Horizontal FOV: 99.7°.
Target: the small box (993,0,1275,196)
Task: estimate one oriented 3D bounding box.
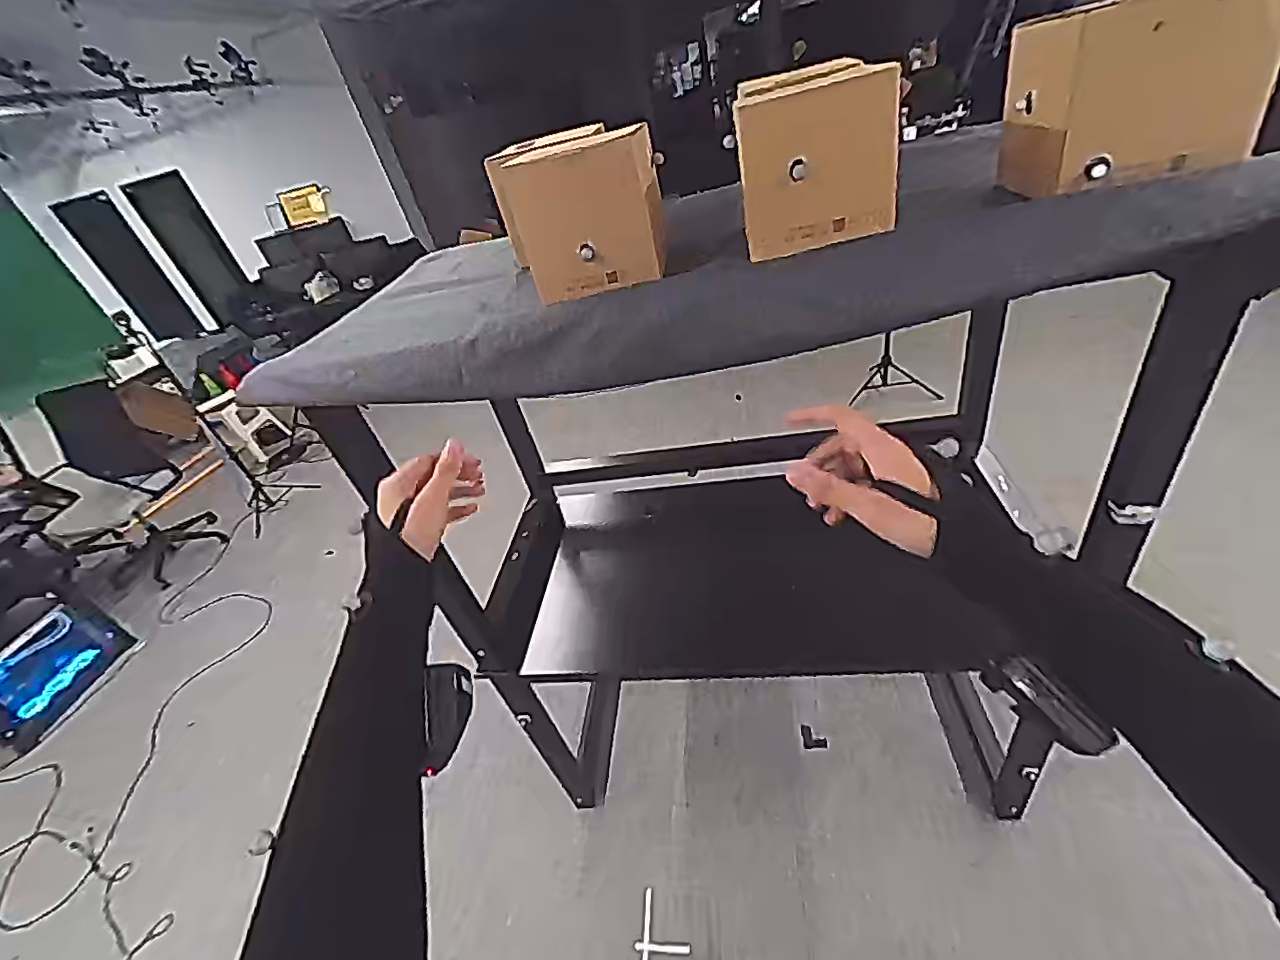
[{"bbox_3d":[0.507,-0.418,0.580,0.168,0.176,0.179,-5,33,15],"label":"small box"}]

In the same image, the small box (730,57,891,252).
[{"bbox_3d":[0.205,-0.396,0.672,0.168,0.176,0.179,-7,34,13],"label":"small box"}]

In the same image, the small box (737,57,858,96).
[{"bbox_3d":[0.247,-0.553,0.869,0.168,0.176,0.179,-7,35,12],"label":"small box"}]
